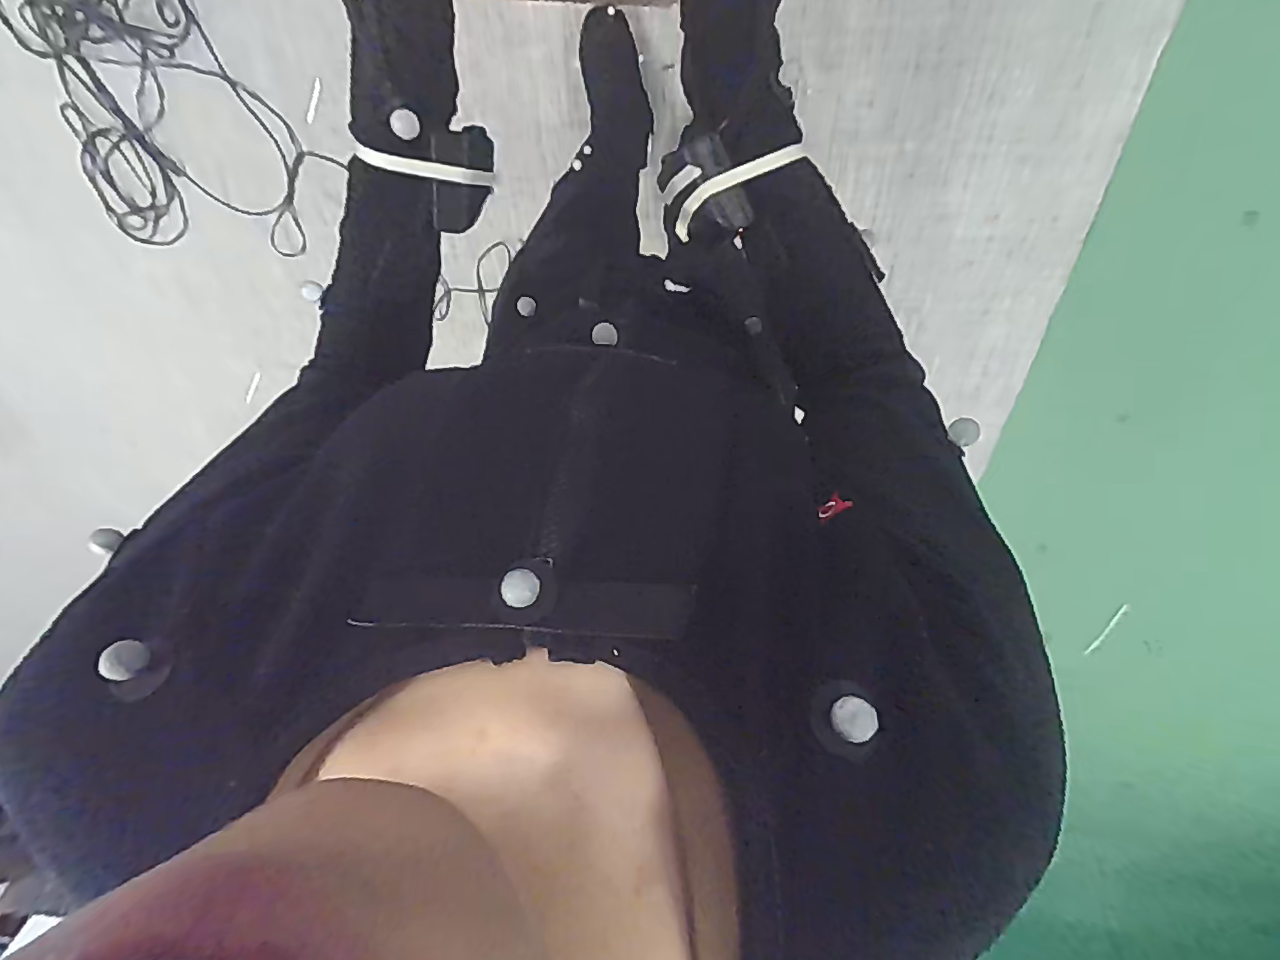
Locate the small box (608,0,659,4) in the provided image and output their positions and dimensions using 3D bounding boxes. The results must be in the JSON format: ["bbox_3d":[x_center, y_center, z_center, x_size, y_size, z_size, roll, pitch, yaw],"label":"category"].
[{"bbox_3d":[-0.042,-0.429,0.322,0.168,0.176,0.179,-3,116,-6],"label":"small box"}]
